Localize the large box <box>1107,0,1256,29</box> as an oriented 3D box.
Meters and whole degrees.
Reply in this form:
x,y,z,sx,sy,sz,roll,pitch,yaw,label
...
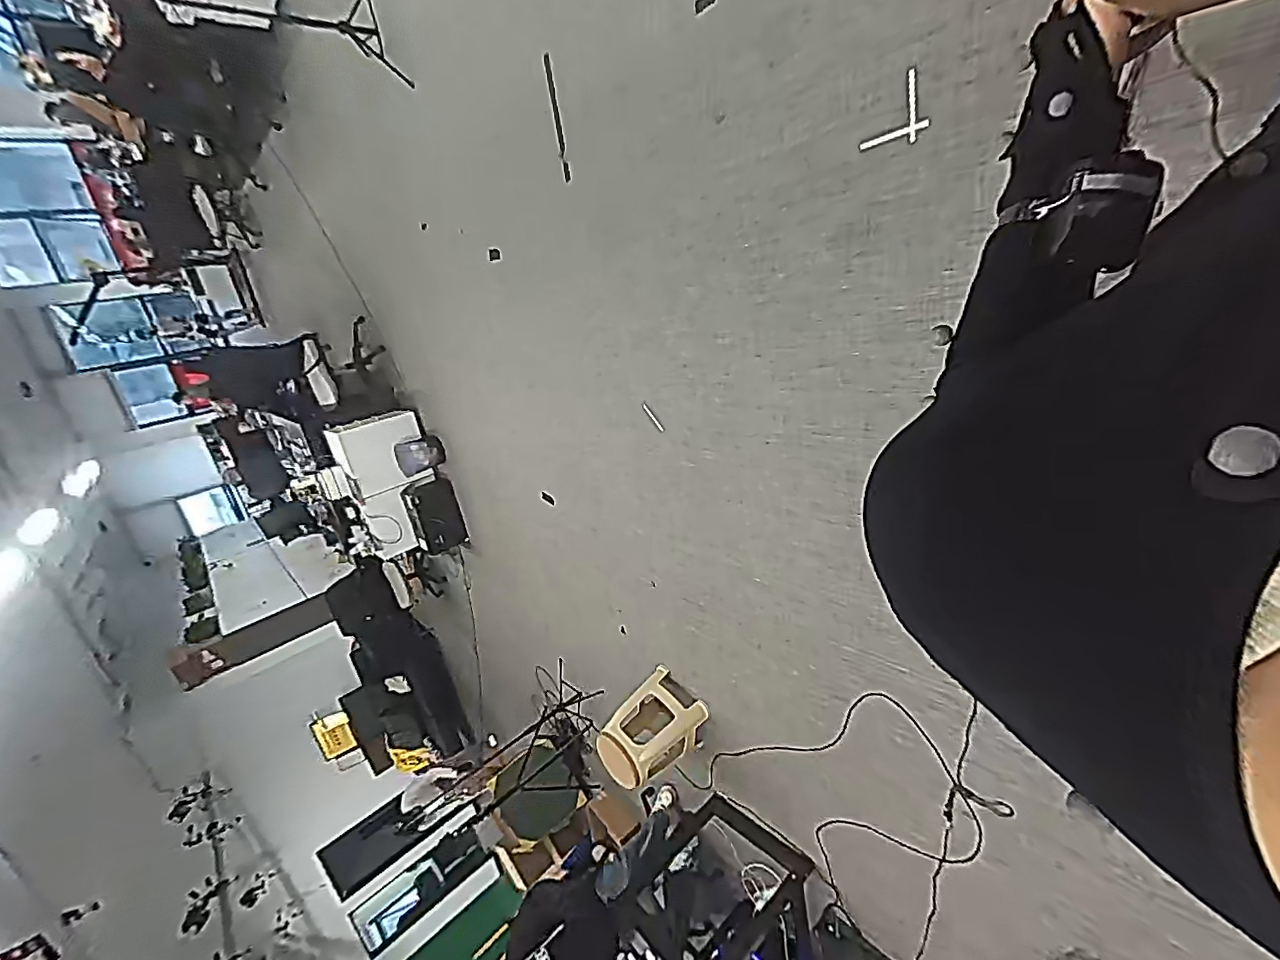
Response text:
x,y,z,sx,sy,sz,roll,pitch,yaw,label
0.382,-0.374,0.116,0.408,0.320,0.320,11,126,43,large box
